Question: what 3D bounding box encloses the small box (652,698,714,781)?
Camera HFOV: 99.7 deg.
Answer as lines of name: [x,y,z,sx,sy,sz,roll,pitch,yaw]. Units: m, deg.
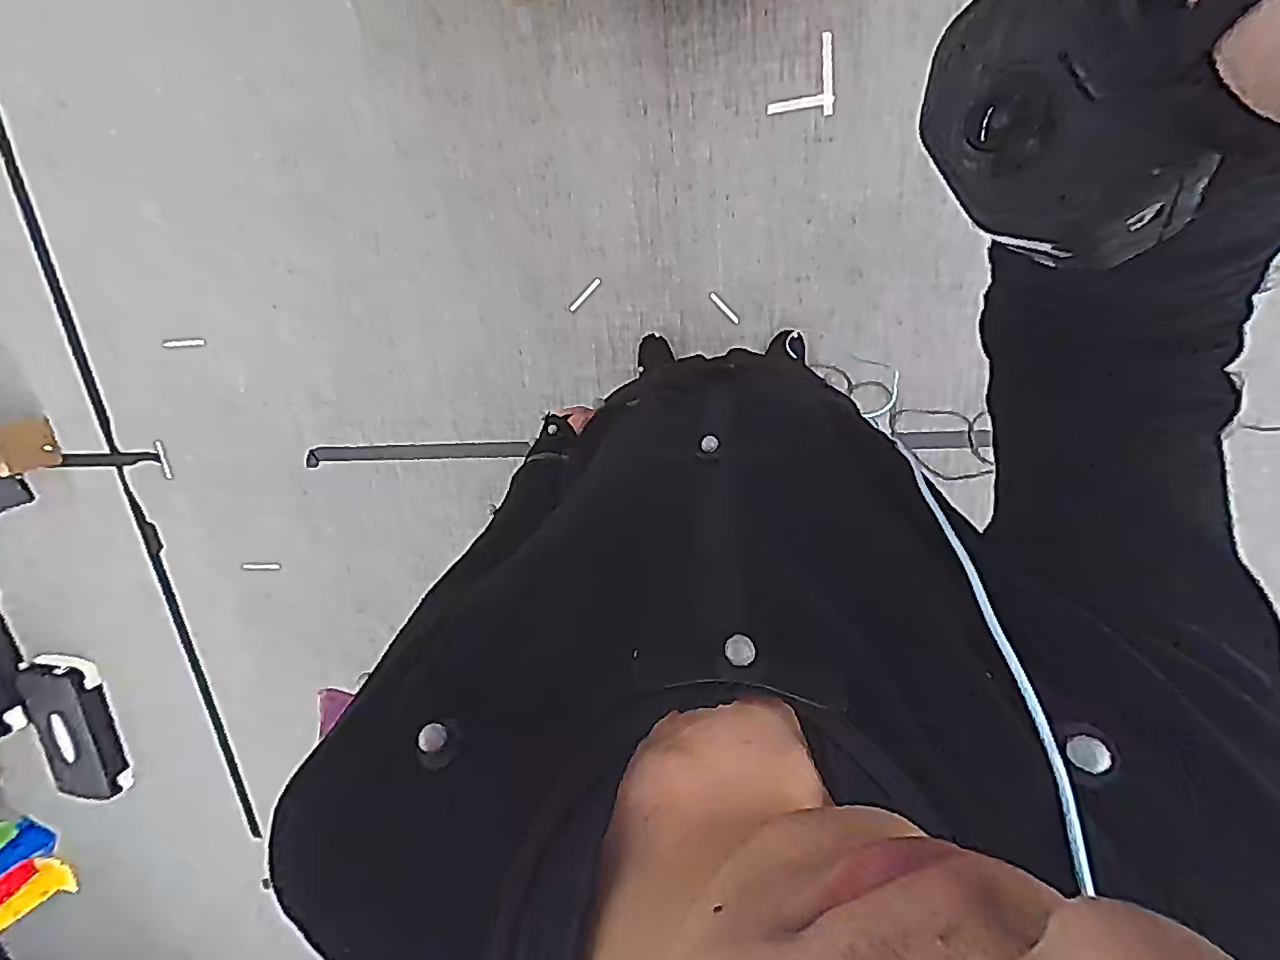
small box: [0.141,0.807,1.691,0.179,0.176,0.168,-3,107,12]
